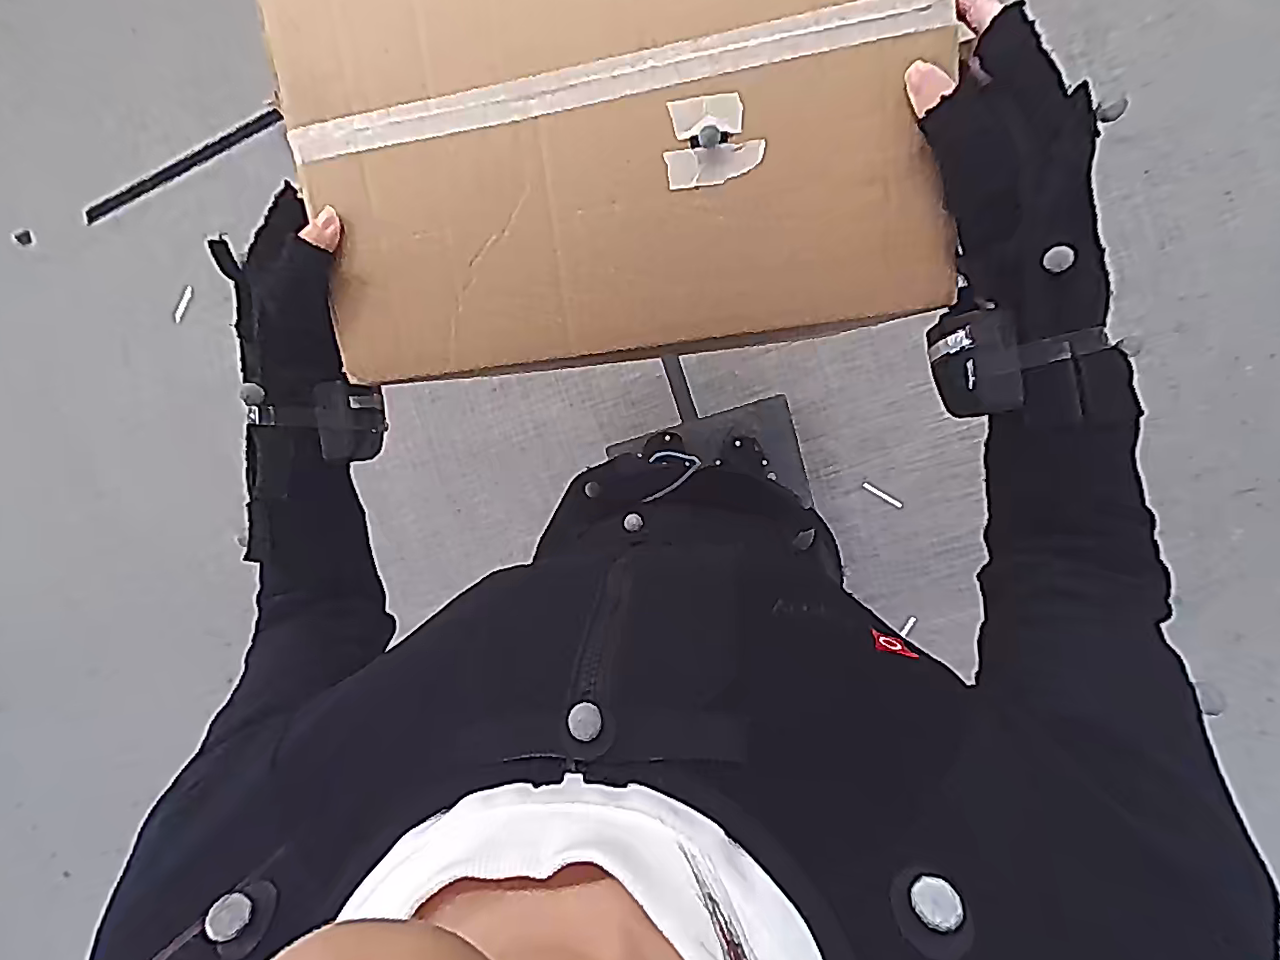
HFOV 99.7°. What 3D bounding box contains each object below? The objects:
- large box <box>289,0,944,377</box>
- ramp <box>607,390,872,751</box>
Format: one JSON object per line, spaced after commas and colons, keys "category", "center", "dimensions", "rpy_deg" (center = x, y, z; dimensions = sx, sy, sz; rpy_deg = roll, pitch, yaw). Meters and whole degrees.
{"category": "large box", "center": [-0.007, -0.276, 0.485], "dimensions": [0.408, 0.320, 0.320], "rpy_deg": [-6, 102, 8]}
{"category": "ramp", "center": [0.293, 0.295, 1.508], "dimensions": [0.509, 0.206, 0.991], "rpy_deg": [-18, 91, 9]}
